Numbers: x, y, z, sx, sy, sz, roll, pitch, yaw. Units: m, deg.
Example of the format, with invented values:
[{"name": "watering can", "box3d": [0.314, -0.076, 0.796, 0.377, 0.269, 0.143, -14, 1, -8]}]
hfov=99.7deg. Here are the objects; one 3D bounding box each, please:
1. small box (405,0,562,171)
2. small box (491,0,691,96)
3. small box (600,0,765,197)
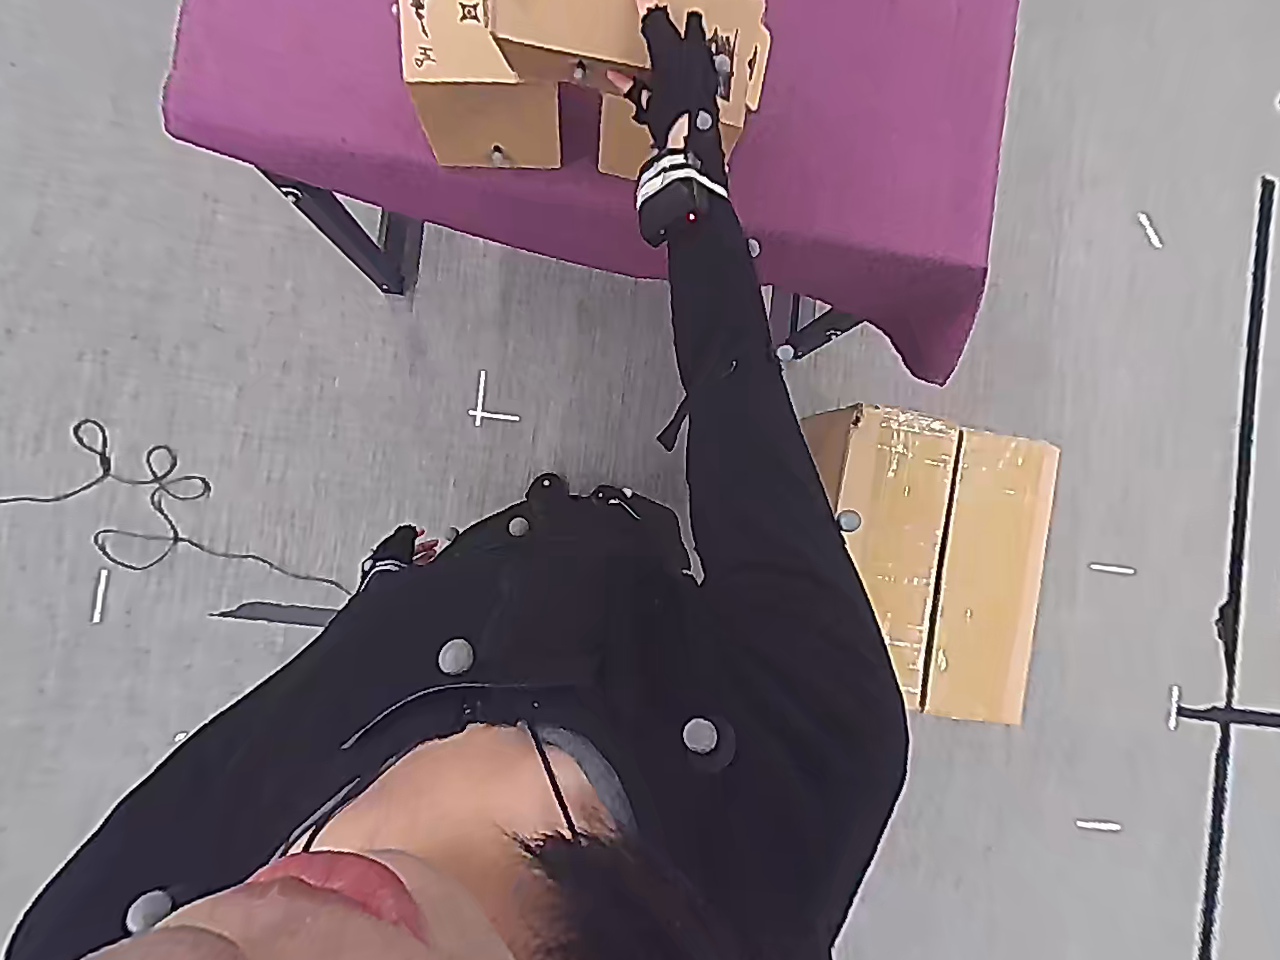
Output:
[{"name": "small box", "box3d": [-0.195, -0.534, 0.710, 0.179, 0.176, 0.168, -3, 88, -8]}, {"name": "small box", "box3d": [-0.042, -0.499, 0.531, 0.179, 0.176, 0.168, 5, 118, -9]}, {"name": "small box", "box3d": [0.047, -0.520, 0.737, 0.179, 0.176, 0.168, 11, 87, -5]}]
